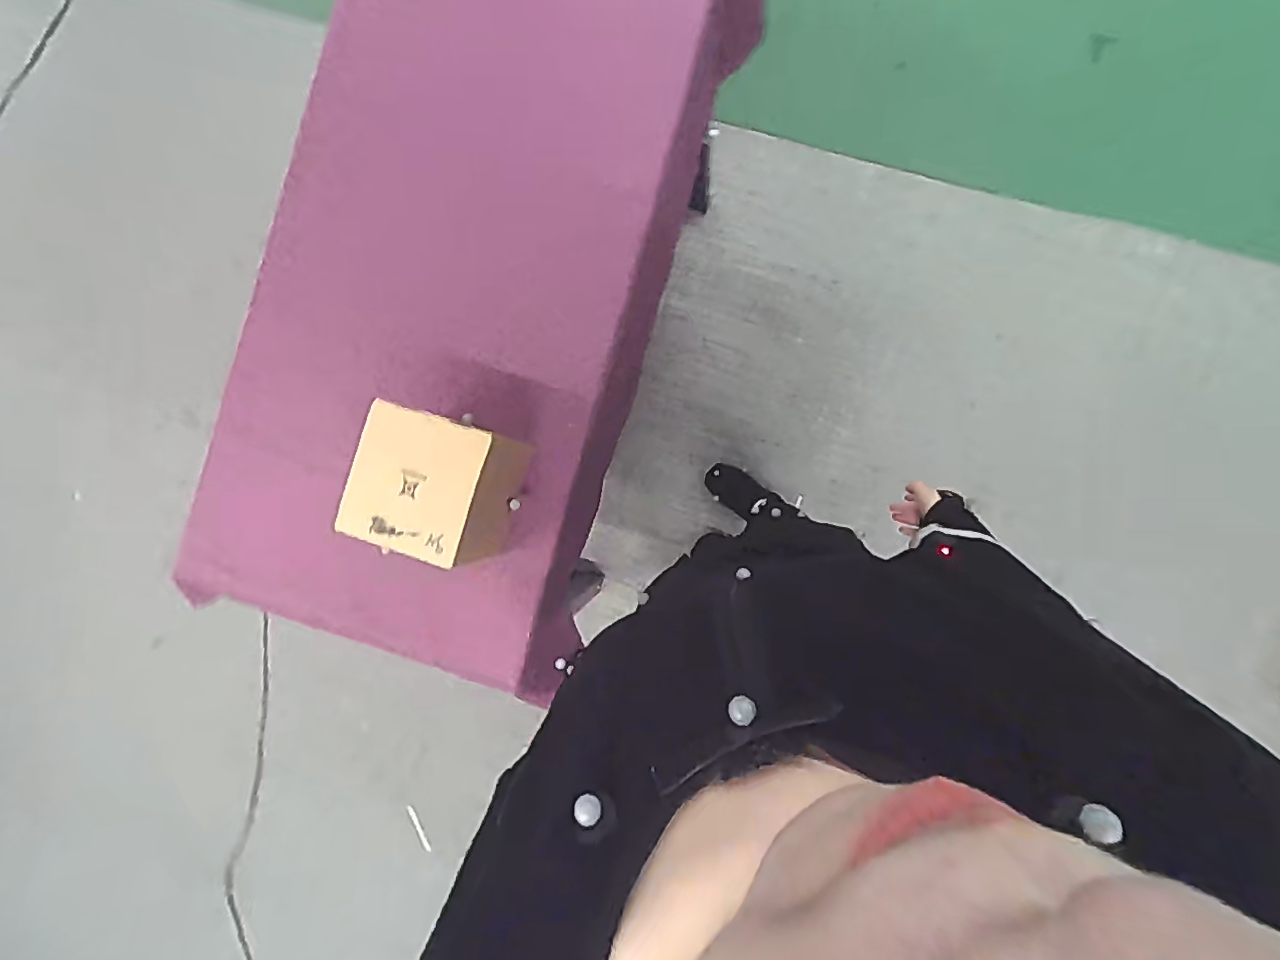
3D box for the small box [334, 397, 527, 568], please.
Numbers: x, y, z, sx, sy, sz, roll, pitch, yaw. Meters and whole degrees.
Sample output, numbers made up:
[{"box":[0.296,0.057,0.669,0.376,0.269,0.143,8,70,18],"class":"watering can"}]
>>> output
[{"box":[-0.273,0.006,0.748,0.168,0.176,0.179,18,89,8],"class":"small box"}]
